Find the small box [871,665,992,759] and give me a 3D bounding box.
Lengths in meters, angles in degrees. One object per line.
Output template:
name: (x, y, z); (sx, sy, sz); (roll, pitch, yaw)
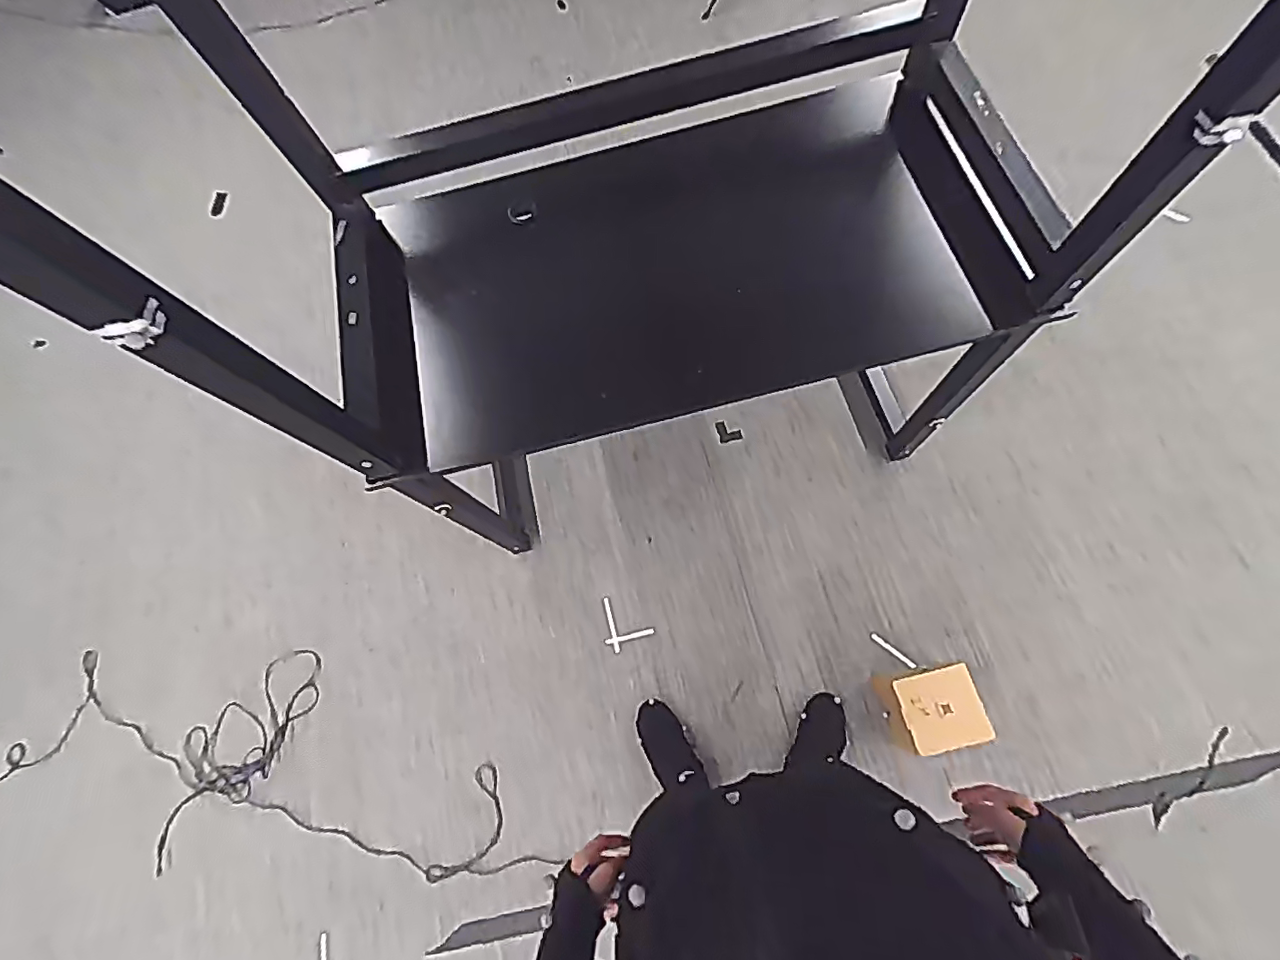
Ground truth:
small box: (0.684, 0.545, 1.292); (0.179, 0.176, 0.168); (-15, 71, 2)
